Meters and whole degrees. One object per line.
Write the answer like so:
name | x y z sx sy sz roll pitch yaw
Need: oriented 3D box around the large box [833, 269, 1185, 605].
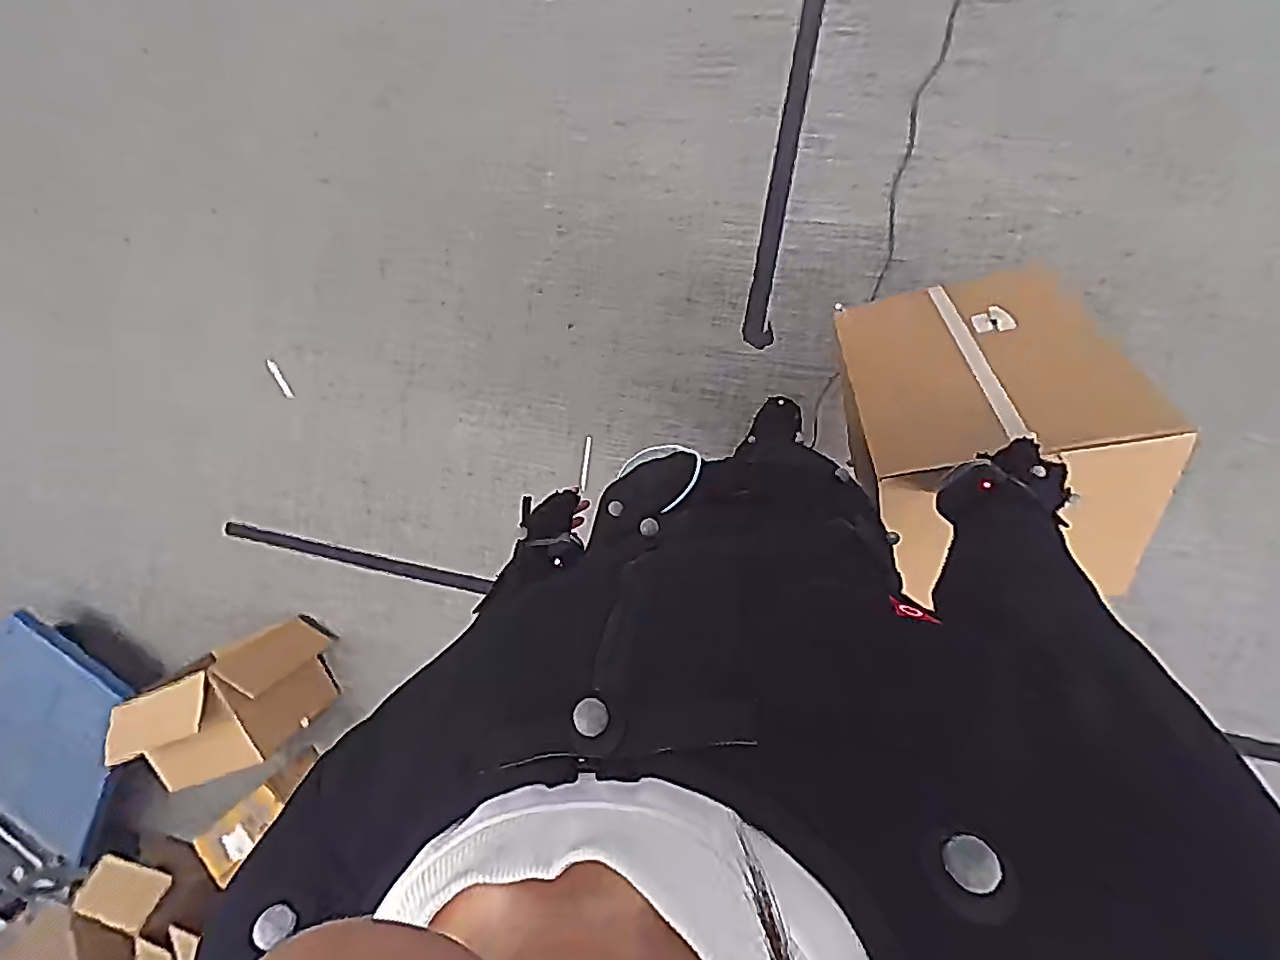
large box | 0.511 -0.065 0.854 0.320 0.408 0.320 -9 133 17
